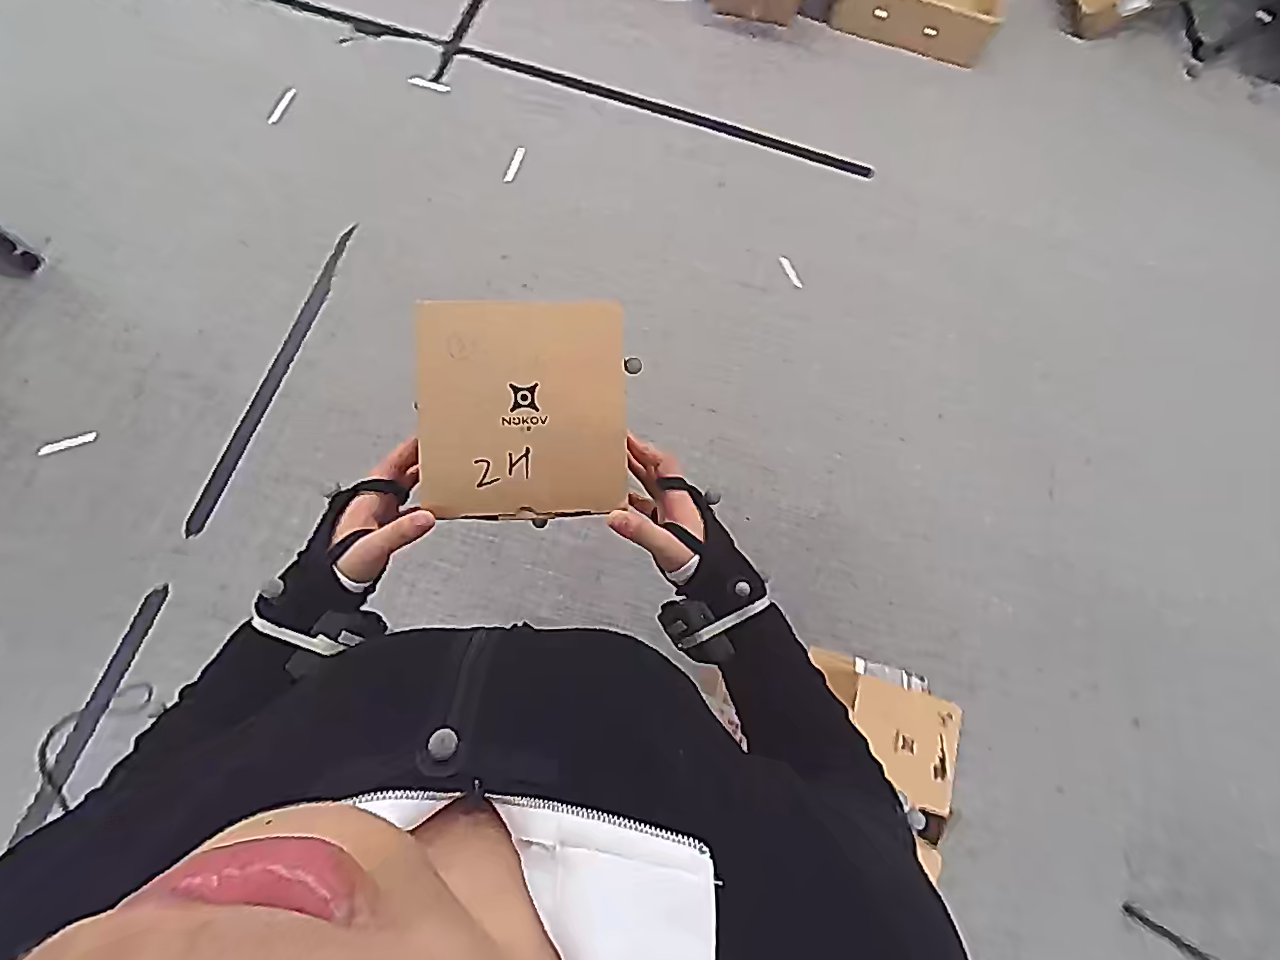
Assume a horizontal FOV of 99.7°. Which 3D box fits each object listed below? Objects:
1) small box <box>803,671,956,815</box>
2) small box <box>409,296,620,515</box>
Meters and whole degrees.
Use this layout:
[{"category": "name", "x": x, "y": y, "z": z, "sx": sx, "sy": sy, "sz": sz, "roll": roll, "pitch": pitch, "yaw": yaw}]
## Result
[{"category": "small box", "x": 0.401, "y": 0.439, "z": 0.929, "sx": 0.179, "sy": 0.176, "sz": 0.168, "roll": 19, "pitch": 72, "yaw": 2}, {"category": "small box", "x": -0.107, "y": -0.058, "z": 0.511, "sx": 0.168, "sy": 0.176, "sz": 0.179, "roll": -2, "pitch": 89, "yaw": -5}]
